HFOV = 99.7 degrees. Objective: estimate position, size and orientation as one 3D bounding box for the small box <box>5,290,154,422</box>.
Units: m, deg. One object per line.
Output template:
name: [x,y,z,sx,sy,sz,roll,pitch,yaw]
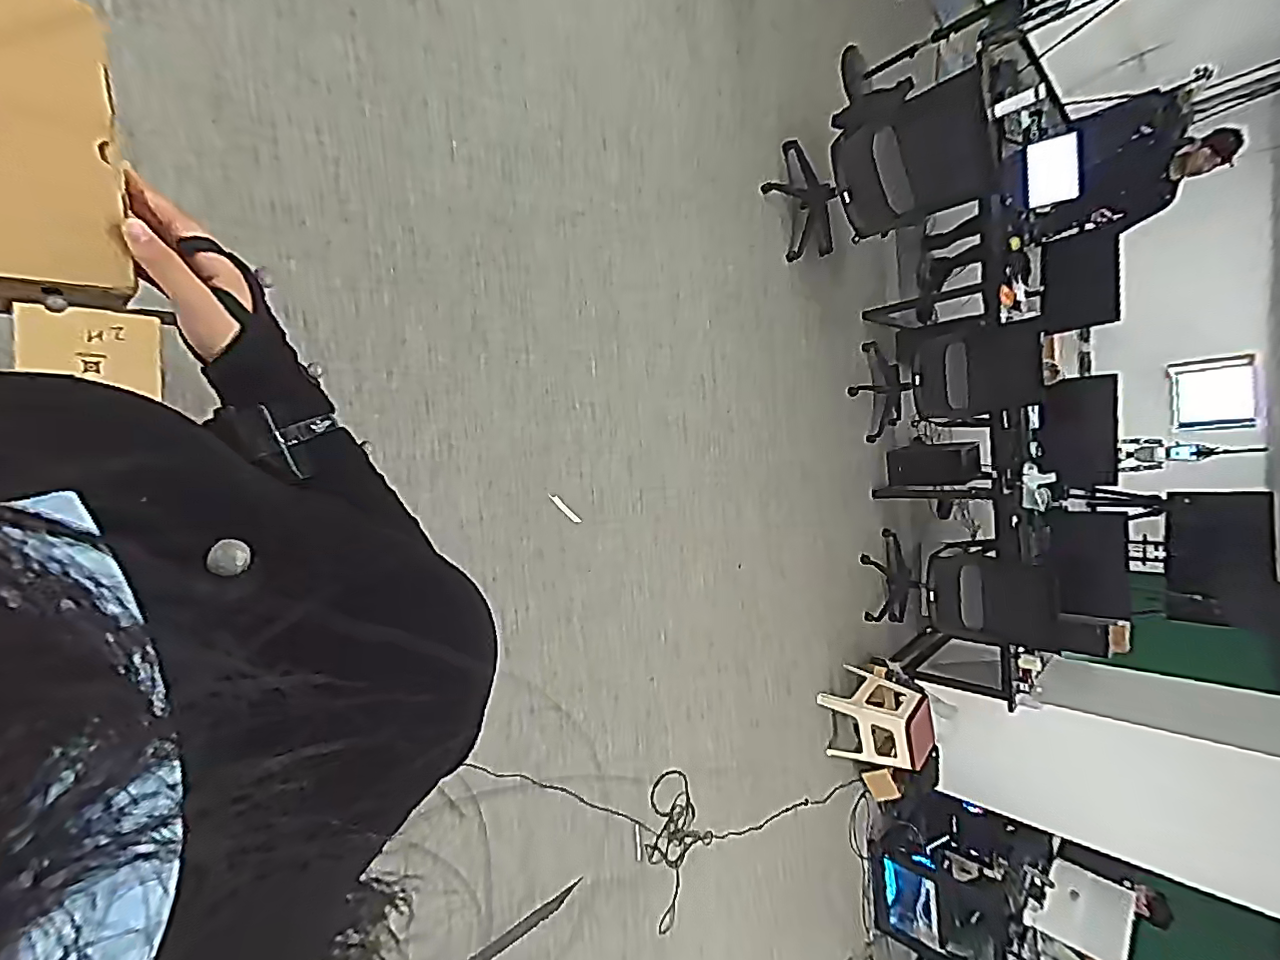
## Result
small box: [-0.931,-0.193,0.910,0.168,0.176,0.179,-1,89,-44]
